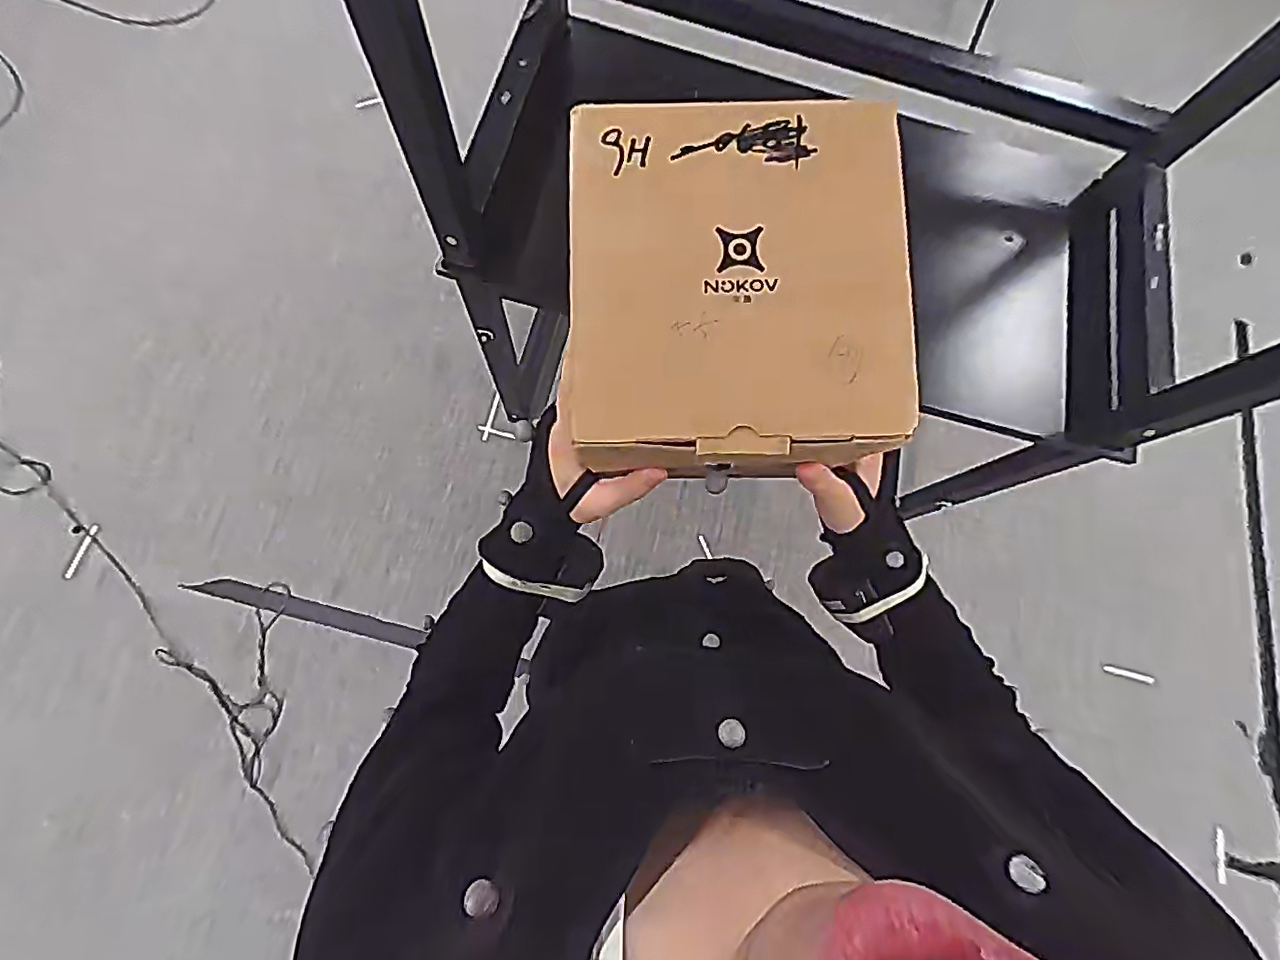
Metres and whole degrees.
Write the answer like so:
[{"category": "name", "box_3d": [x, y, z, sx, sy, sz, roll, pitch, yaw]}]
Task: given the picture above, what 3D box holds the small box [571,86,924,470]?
[{"category": "small box", "box_3d": [0.049, -0.097, 0.335, 0.168, 0.176, 0.179, -1, 86, -1]}]
